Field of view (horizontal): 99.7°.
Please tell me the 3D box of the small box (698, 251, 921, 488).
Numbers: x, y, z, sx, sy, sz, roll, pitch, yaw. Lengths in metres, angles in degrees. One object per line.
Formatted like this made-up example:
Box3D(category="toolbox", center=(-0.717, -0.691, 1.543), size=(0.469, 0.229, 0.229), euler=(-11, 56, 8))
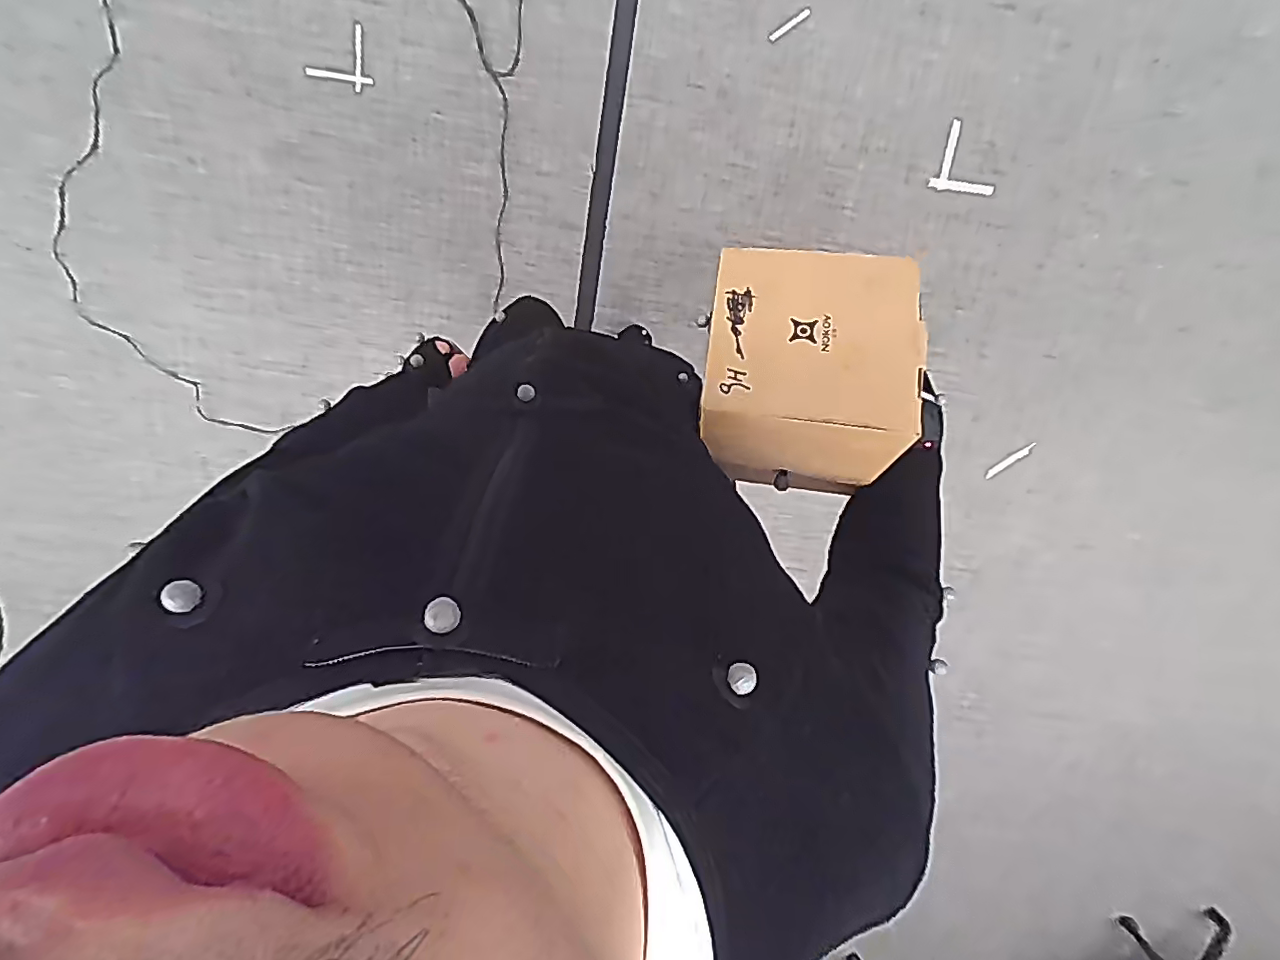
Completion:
Box3D(category="small box", center=(0.159, -0.099, 0.546), size=(0.179, 0.176, 0.168), euler=(8, 71, 6))
